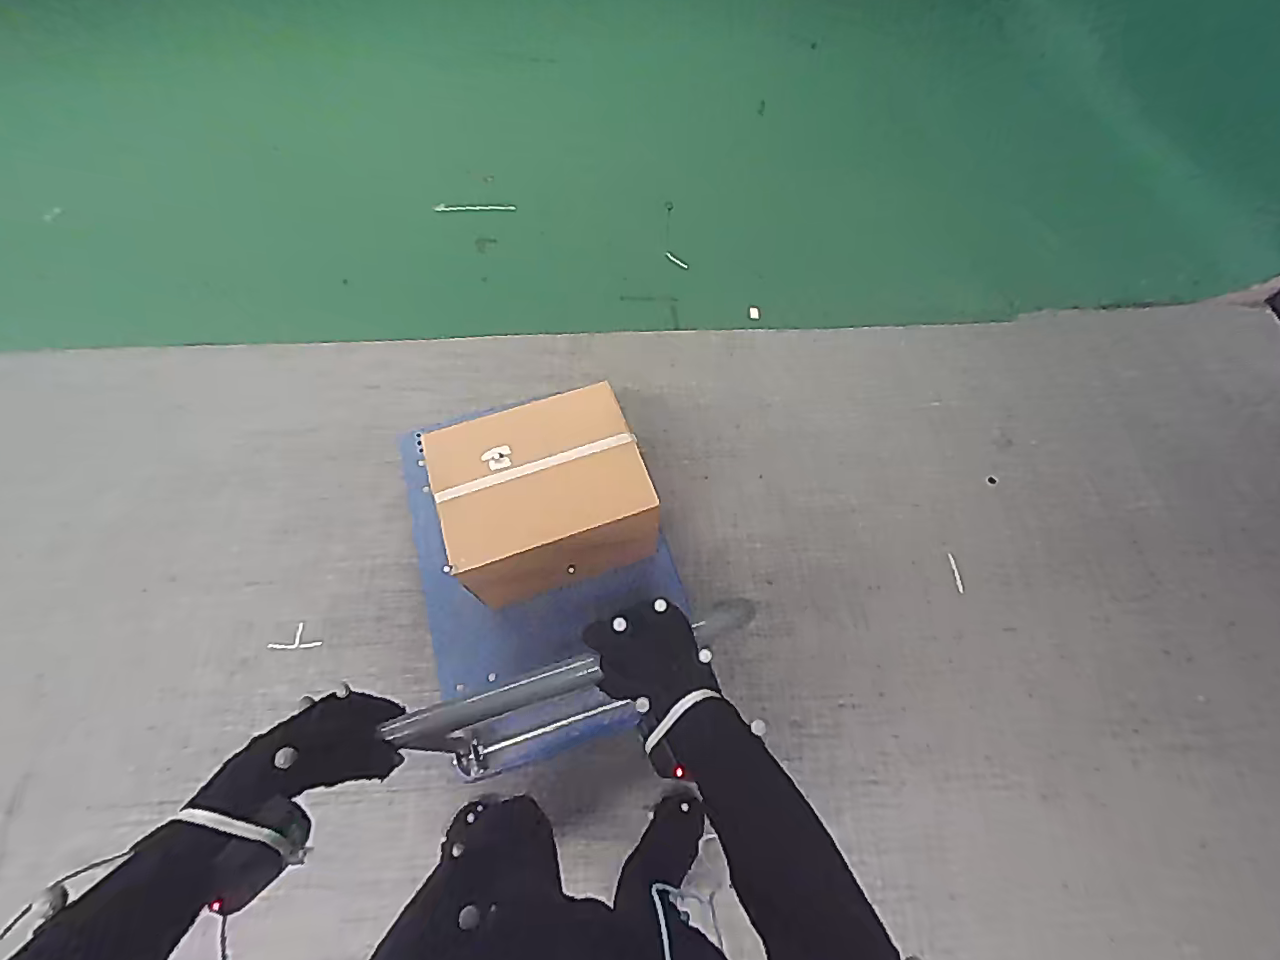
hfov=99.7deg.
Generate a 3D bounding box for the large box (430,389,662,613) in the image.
[{"bbox_3d":[-0.192,0.059,1.215,0.408,0.320,0.320,-20,65,-8],"label":"large box"}]
